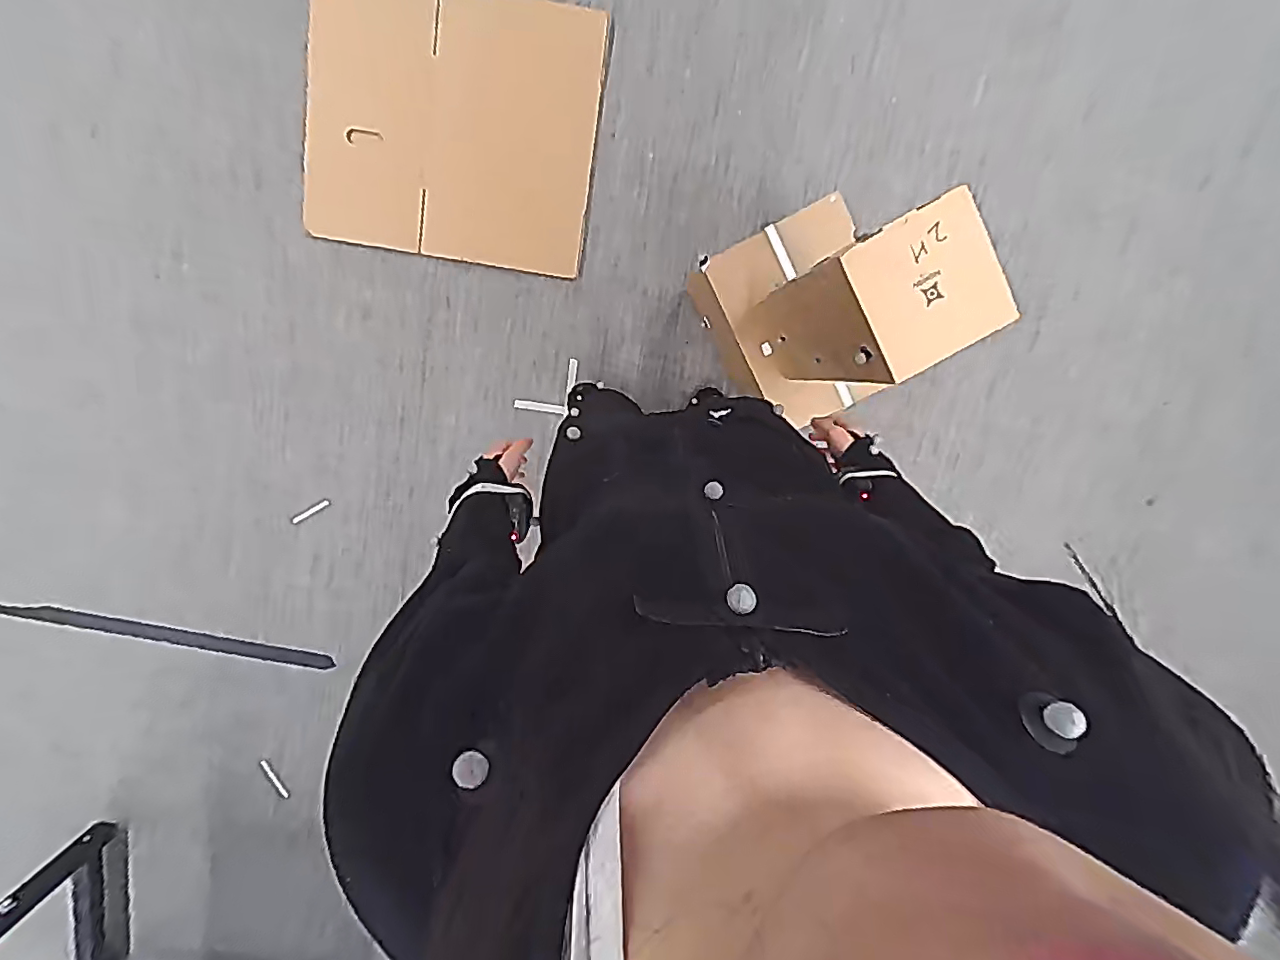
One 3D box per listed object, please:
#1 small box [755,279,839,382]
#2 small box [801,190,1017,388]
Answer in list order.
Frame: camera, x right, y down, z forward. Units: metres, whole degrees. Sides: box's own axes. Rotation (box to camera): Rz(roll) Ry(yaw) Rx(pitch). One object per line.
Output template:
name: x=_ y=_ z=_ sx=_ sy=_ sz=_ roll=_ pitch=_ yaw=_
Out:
small box: x=0.343 y=-0.304 z=1.045 sx=0.168 sy=0.176 sz=0.179 roll=-30 pitch=101 yaw=5
small box: x=0.344 y=-0.241 z=0.722 sx=0.168 sy=0.176 sz=0.179 roll=-29 pitch=100 yaw=4
